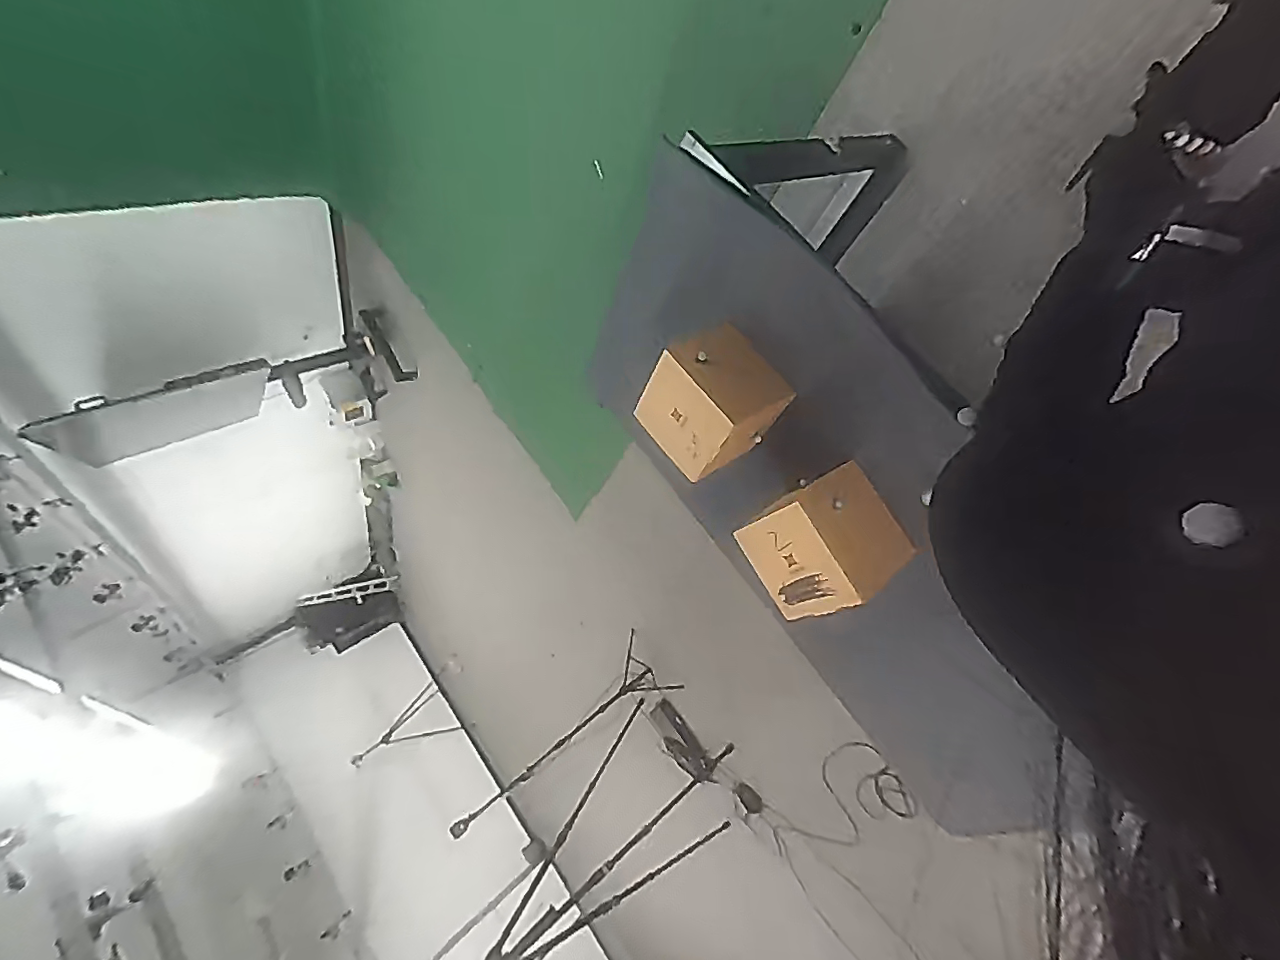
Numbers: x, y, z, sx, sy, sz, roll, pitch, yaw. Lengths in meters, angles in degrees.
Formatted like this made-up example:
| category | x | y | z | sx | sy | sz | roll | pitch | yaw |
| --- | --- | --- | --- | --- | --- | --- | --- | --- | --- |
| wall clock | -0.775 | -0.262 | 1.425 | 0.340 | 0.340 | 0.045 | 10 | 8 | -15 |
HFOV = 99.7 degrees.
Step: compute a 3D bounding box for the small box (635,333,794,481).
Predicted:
| category | x | y | z | sx | sy | sz | roll | pitch | yaw |
| --- | --- | --- | --- | --- | --- | --- | --- | --- | --- |
| small box | 0.127 | -0.134 | 0.940 | 0.179 | 0.176 | 0.168 | 51 | 144 | 15 |
